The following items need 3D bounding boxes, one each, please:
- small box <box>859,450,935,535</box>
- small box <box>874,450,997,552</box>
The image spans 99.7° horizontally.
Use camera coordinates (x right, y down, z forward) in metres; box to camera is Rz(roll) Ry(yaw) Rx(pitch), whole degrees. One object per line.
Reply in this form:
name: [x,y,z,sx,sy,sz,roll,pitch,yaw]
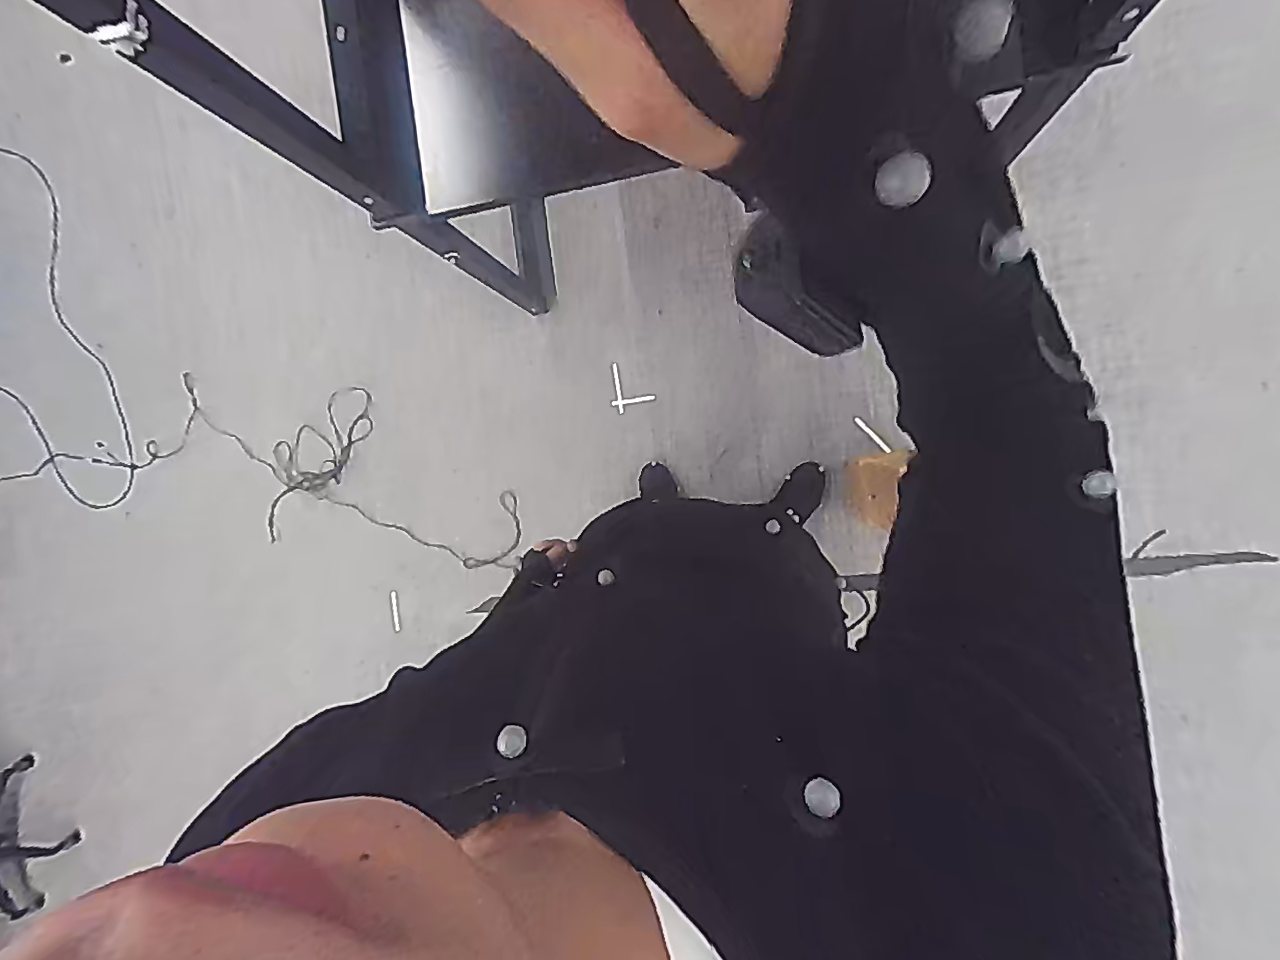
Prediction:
small box: [0.640,0.023,1.286,0.179,0.176,0.168,-12,91,12]
small box: [0.606,0.037,1.127,0.168,0.176,0.179,-13,91,11]
